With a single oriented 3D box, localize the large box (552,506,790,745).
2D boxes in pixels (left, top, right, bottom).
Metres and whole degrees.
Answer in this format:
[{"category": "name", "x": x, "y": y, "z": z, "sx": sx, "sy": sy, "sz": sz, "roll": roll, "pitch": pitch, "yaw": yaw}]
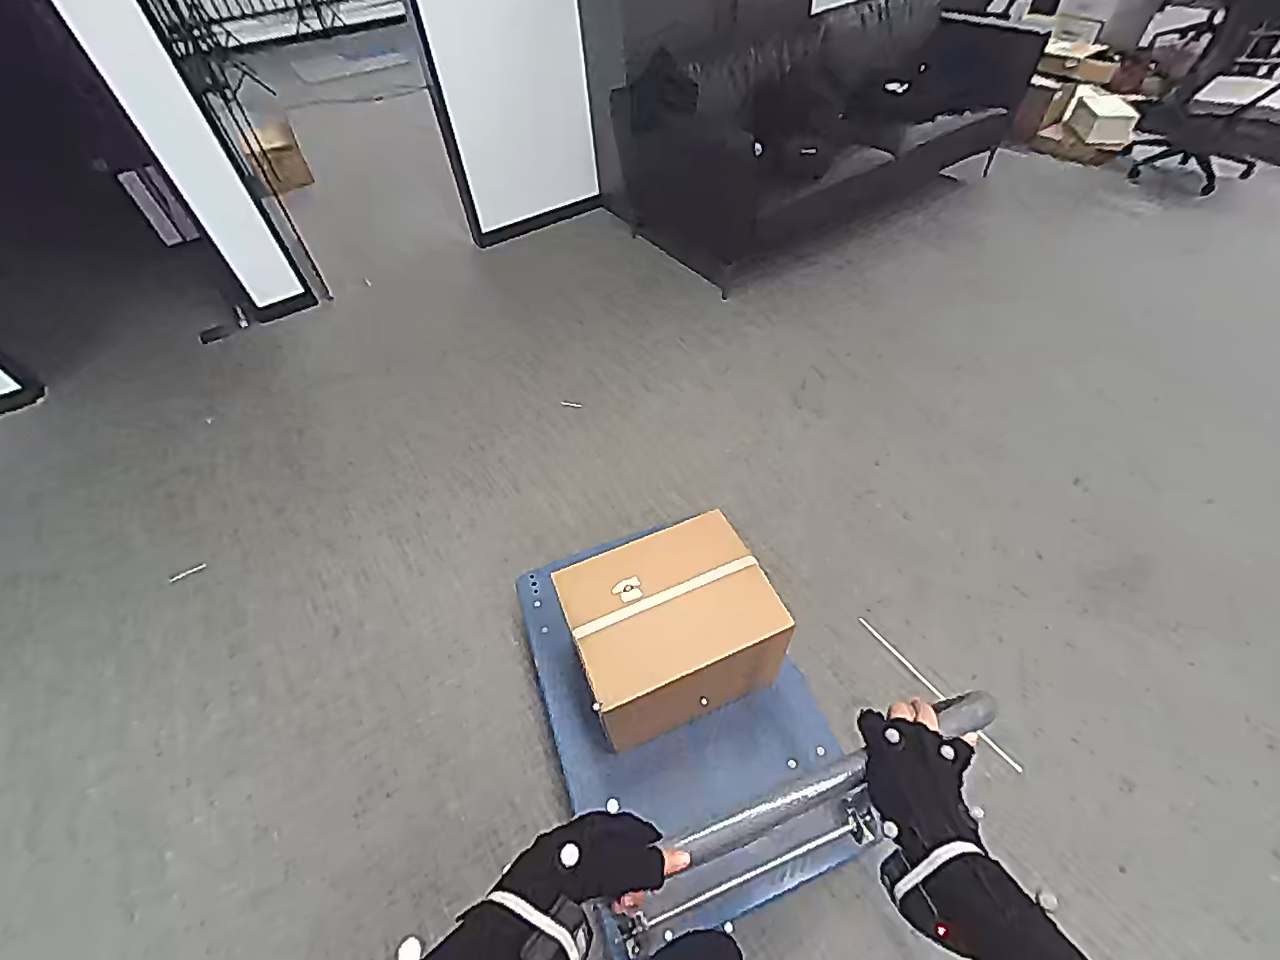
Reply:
[{"category": "large box", "x": 0.063, "y": 0.325, "z": 1.210, "sx": 0.408, "sy": 0.320, "sz": 0.320, "roll": -21, "pitch": 52, "yaw": -12}]
